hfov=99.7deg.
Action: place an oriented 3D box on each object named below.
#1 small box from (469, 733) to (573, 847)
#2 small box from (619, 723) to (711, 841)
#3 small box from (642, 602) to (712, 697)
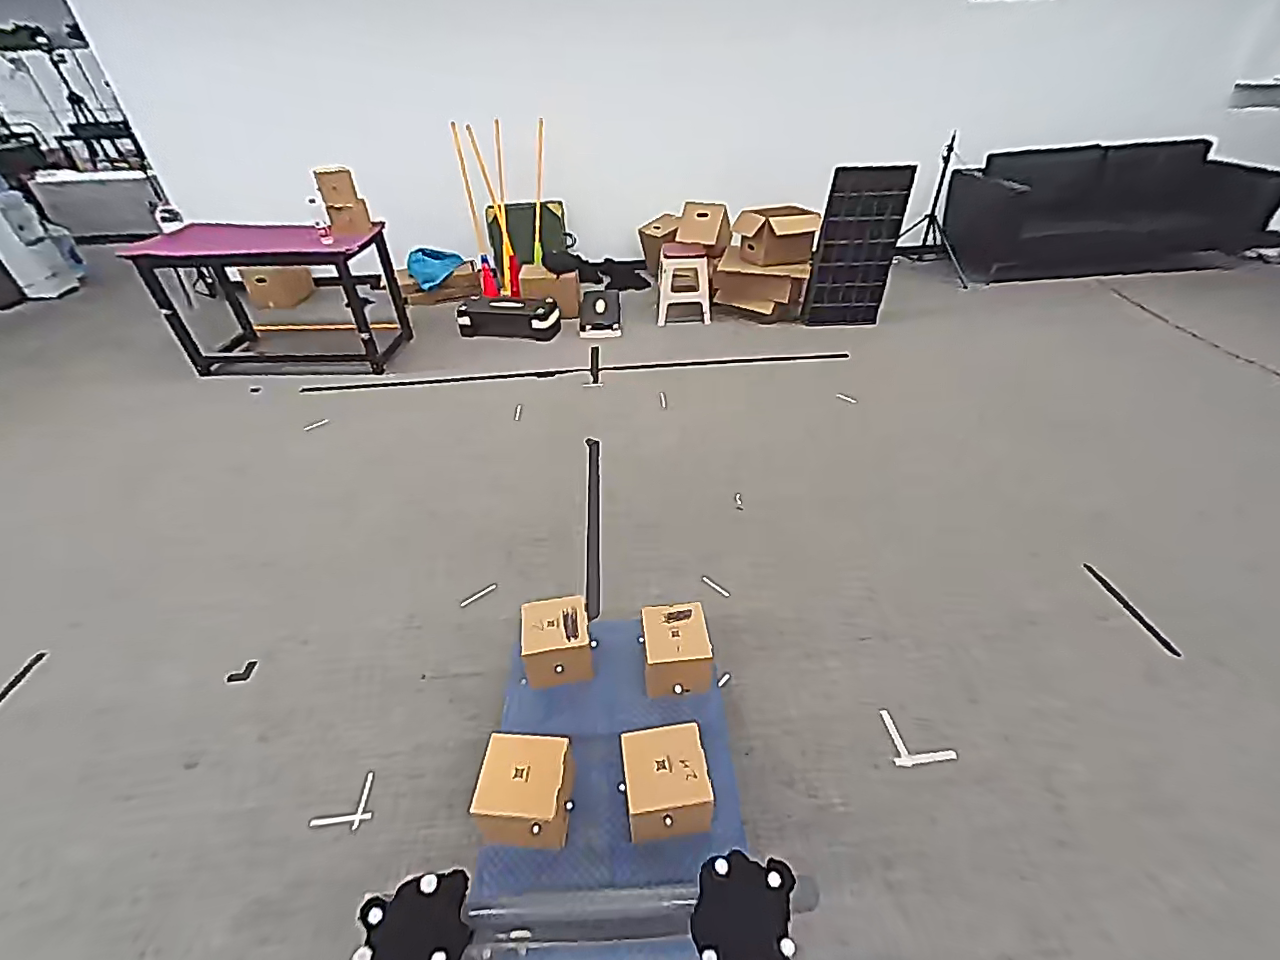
[{"bbox_3d":[-0.250,0.679,1.183,0.179,0.176,0.168,2,38,3],"label":"small box"},{"bbox_3d":[0.053,0.665,1.187,0.179,0.176,0.168,-6,39,-5],"label":"small box"},{"bbox_3d":[0.094,0.453,1.450,0.168,0.176,0.179,-5,39,-3],"label":"small box"}]
